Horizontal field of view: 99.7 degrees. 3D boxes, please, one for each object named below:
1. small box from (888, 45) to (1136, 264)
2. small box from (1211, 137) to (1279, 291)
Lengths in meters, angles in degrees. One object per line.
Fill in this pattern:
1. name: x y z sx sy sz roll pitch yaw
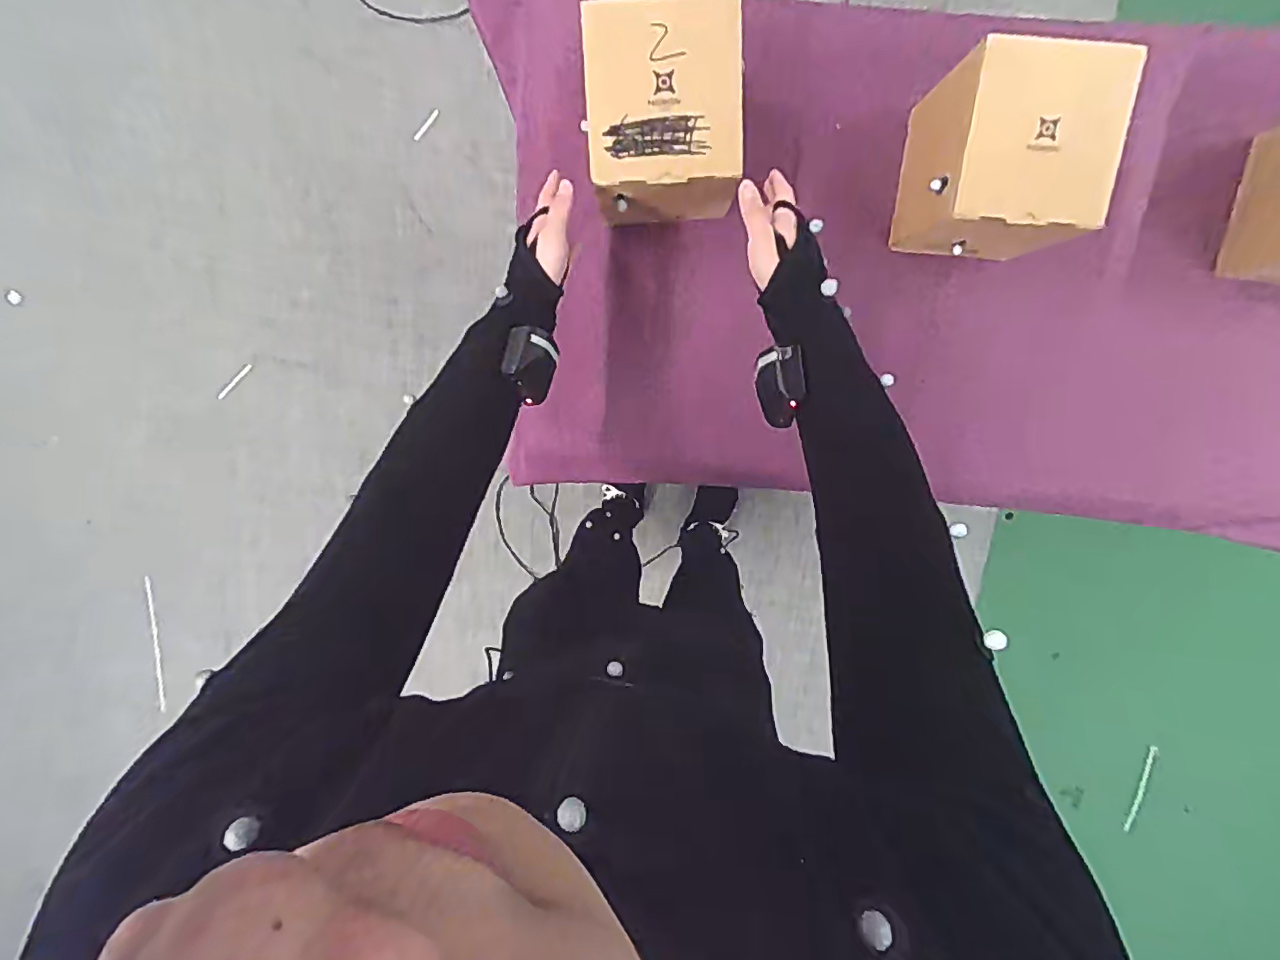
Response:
1. small box: 0.425 -0.373 0.652 0.168 0.176 0.179 5 103 -1
2. small box: 0.864 -0.332 0.650 0.168 0.176 0.179 6 103 1
